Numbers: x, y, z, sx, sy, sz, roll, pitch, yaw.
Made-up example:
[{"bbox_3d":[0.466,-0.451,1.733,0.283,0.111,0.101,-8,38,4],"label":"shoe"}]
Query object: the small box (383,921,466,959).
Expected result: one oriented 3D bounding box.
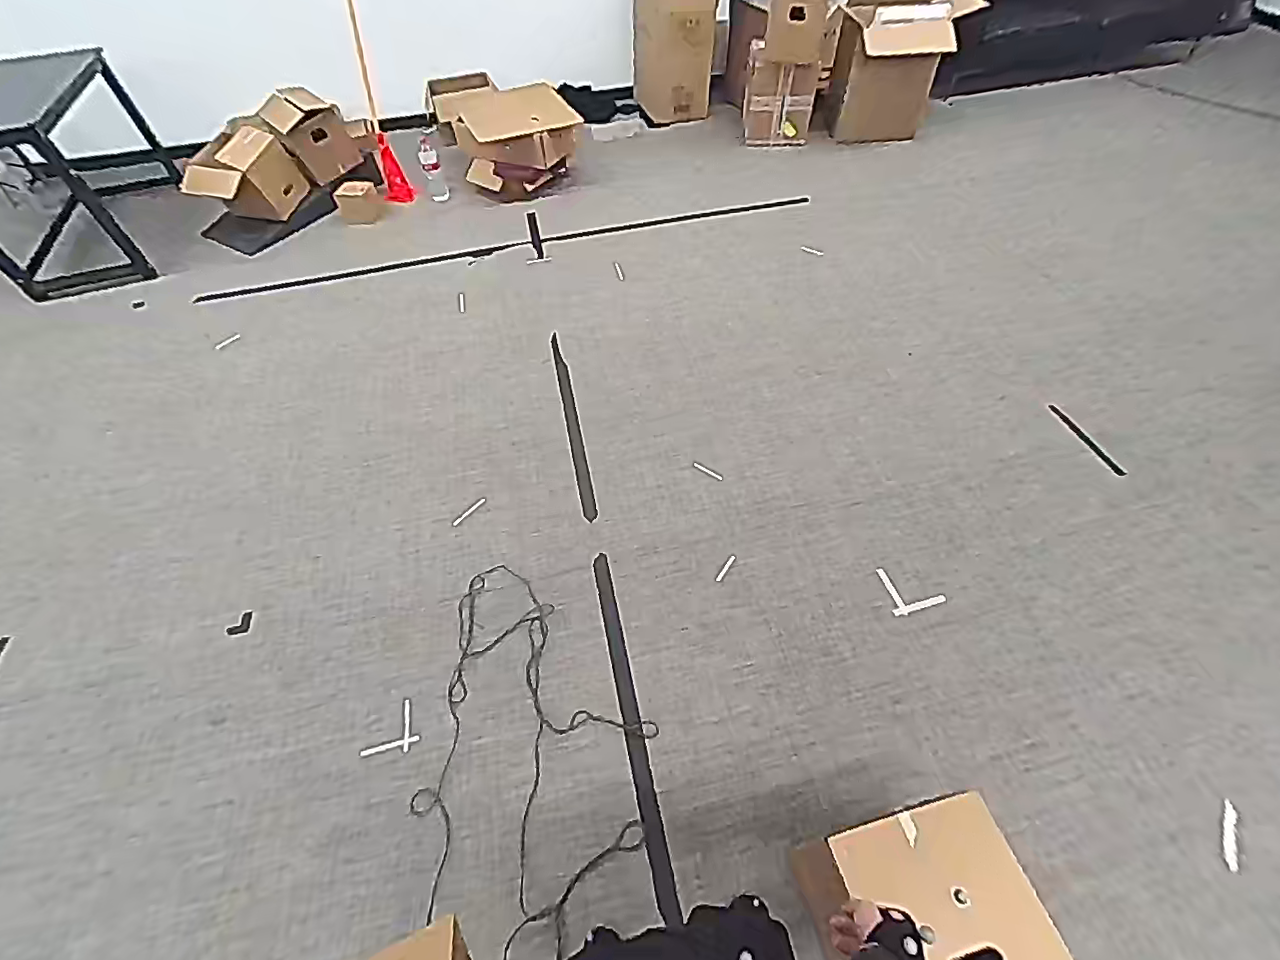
[{"bbox_3d":[-0.284,0.719,0.662,0.168,0.179,0.176,-19,90,-18],"label":"small box"}]
